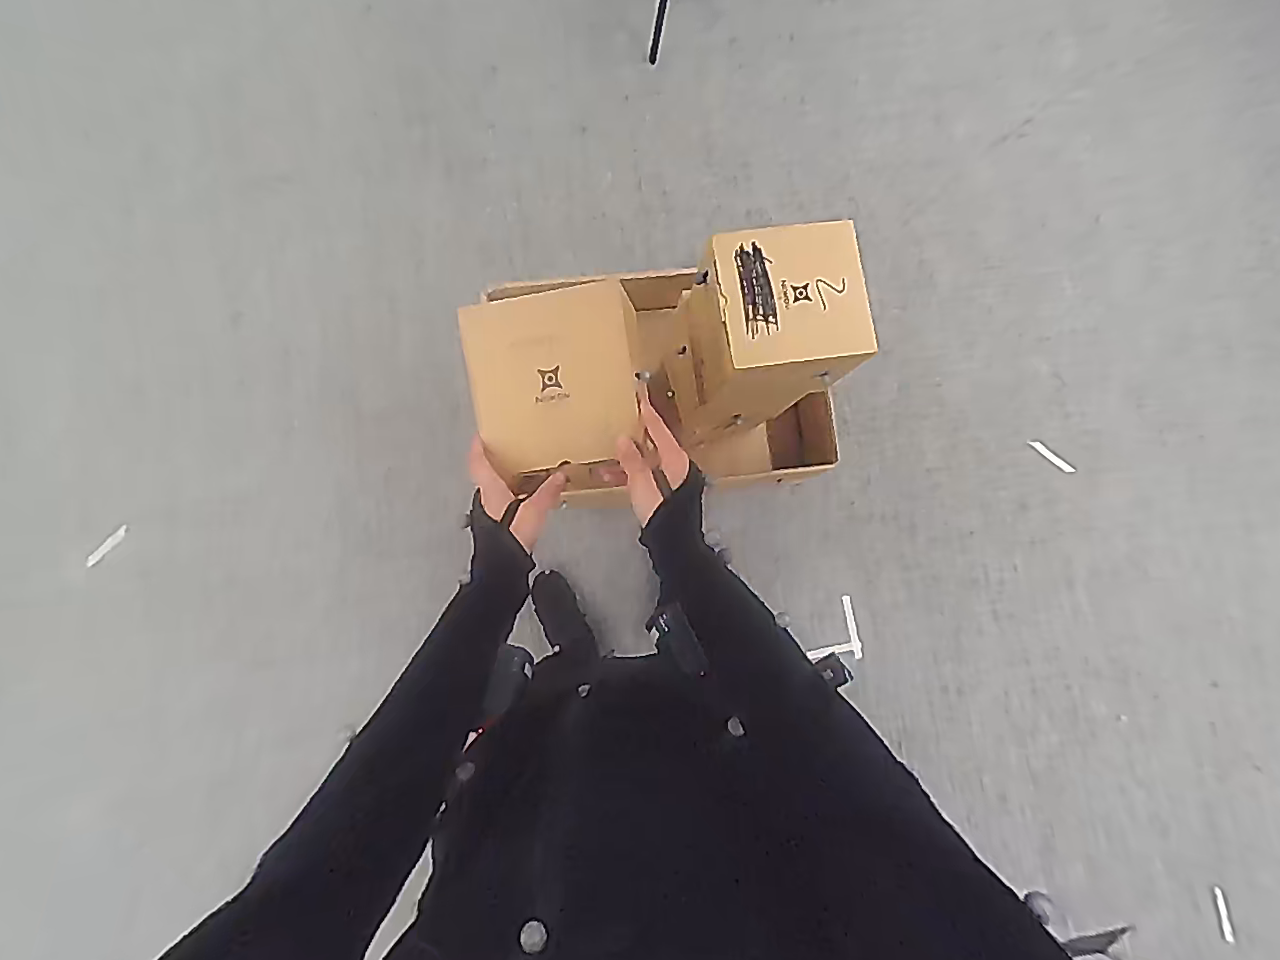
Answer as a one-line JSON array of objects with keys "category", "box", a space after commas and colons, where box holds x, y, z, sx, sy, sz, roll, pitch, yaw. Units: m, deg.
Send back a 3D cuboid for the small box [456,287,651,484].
[{"category": "small box", "box": [-0.082, -0.103, 0.613, 0.168, 0.176, 0.179, -8, 98, 5]}]
